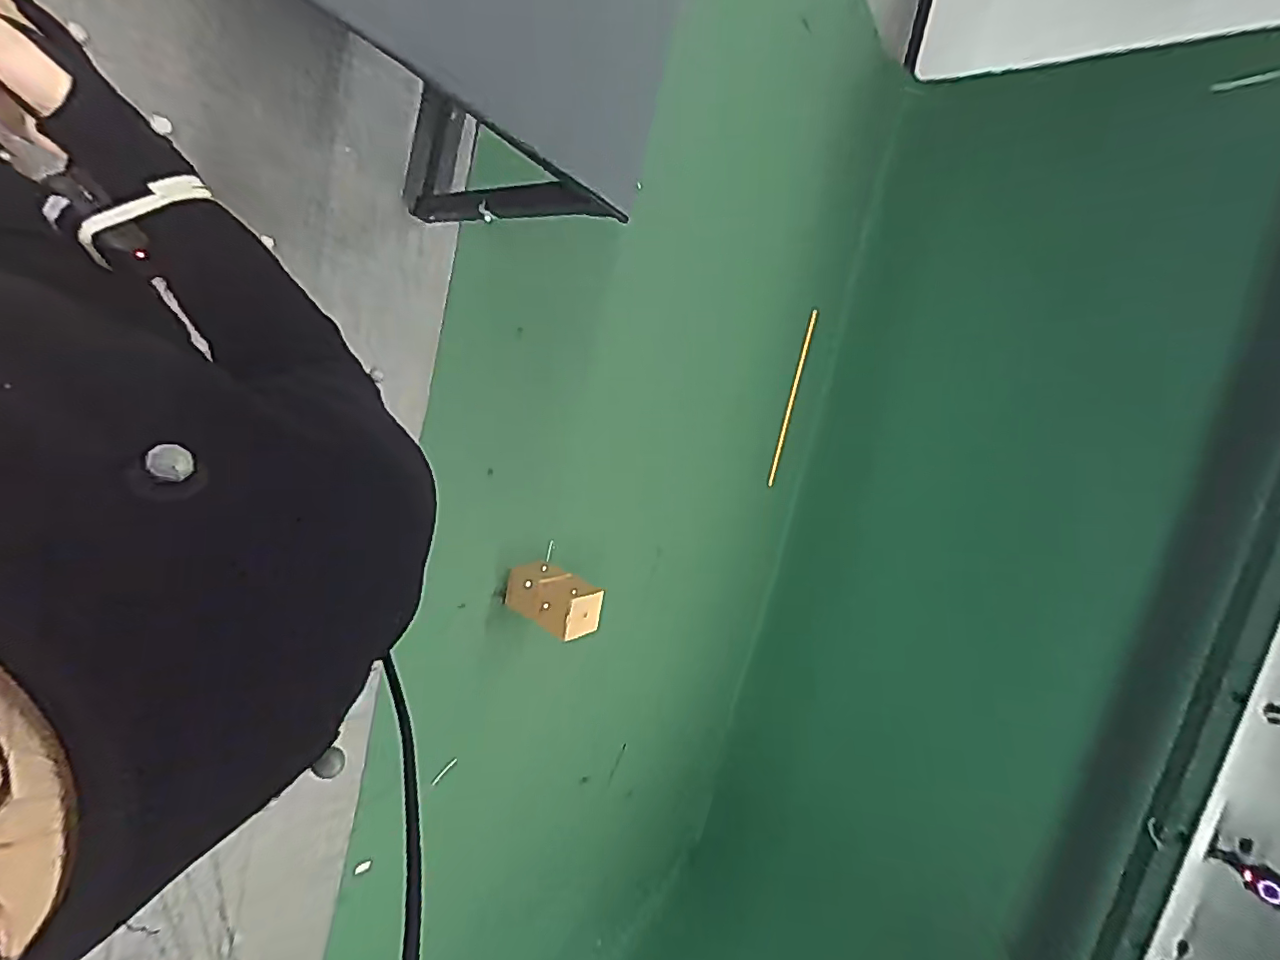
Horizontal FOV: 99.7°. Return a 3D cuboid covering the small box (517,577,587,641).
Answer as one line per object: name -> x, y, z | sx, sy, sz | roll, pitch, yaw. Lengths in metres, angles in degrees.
small box -> -0.331, 0.475, 2.025 | 0.179, 0.176, 0.168 | -2, 107, -54
